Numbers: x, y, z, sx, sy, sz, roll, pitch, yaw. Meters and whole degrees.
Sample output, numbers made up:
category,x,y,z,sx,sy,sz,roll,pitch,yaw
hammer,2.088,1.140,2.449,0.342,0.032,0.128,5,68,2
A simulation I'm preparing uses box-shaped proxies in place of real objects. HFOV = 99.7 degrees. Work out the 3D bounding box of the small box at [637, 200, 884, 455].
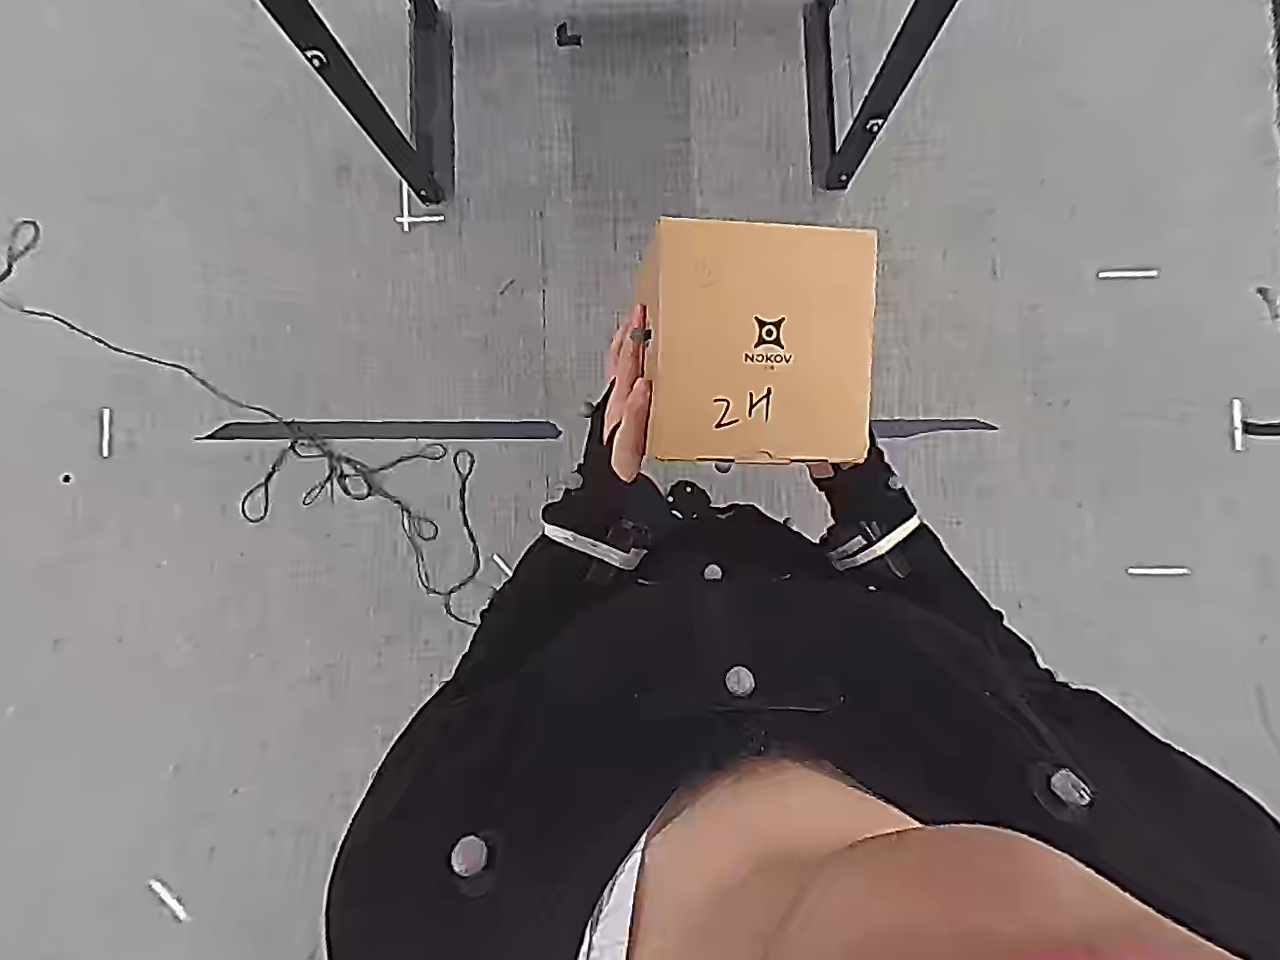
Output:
category,x,y,z,sx,sy,sz,roll,pitch,yaw
small box,0.088,-0.113,0.473,0.168,0.176,0.179,2,94,-6
